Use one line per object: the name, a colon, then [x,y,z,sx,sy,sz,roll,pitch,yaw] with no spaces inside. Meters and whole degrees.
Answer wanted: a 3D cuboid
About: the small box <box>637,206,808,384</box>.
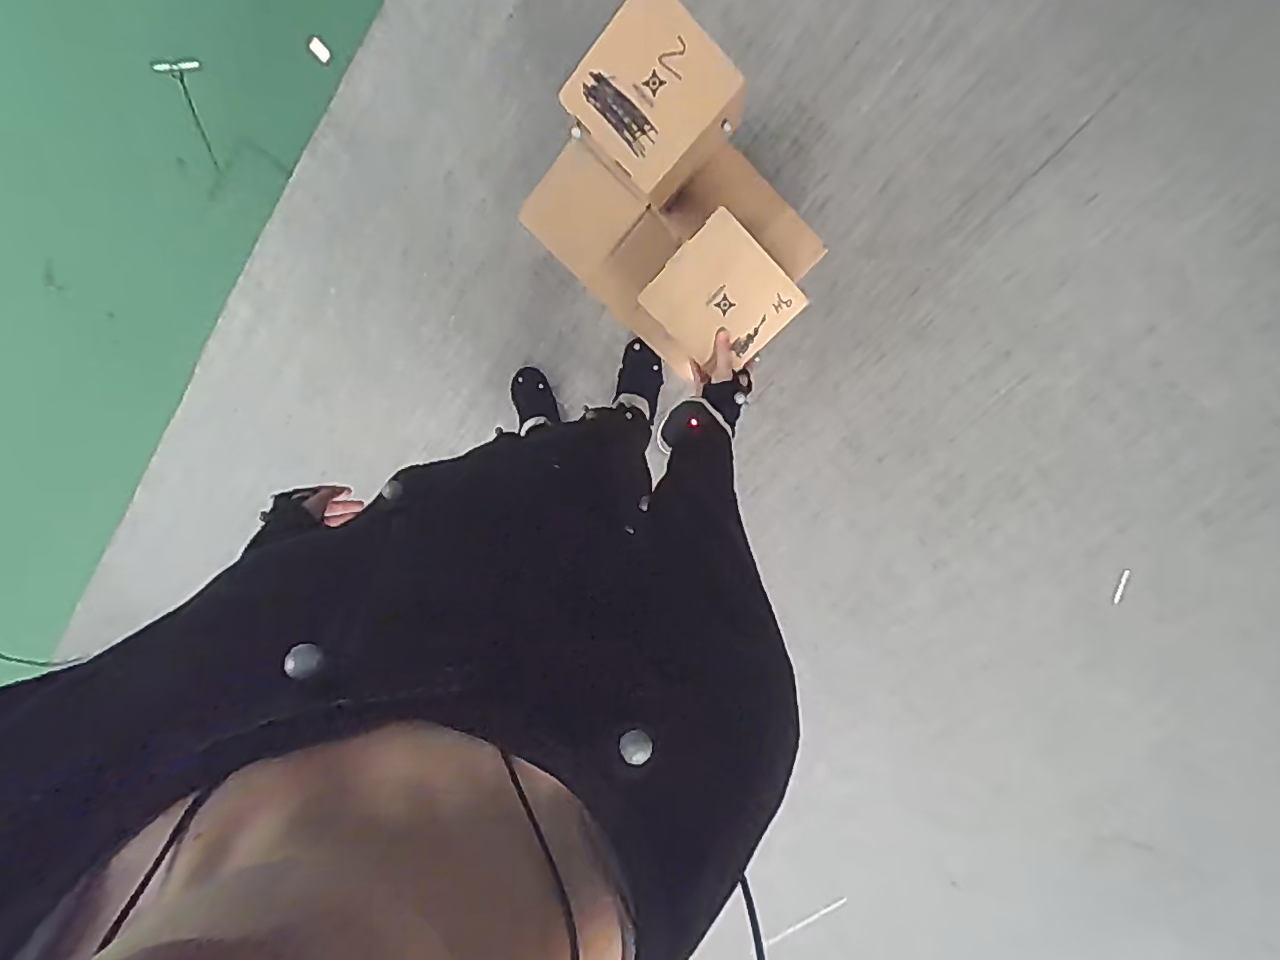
small box: [0.122,-0.270,0.810,0.168,0.176,0.179,-42,98,21]
